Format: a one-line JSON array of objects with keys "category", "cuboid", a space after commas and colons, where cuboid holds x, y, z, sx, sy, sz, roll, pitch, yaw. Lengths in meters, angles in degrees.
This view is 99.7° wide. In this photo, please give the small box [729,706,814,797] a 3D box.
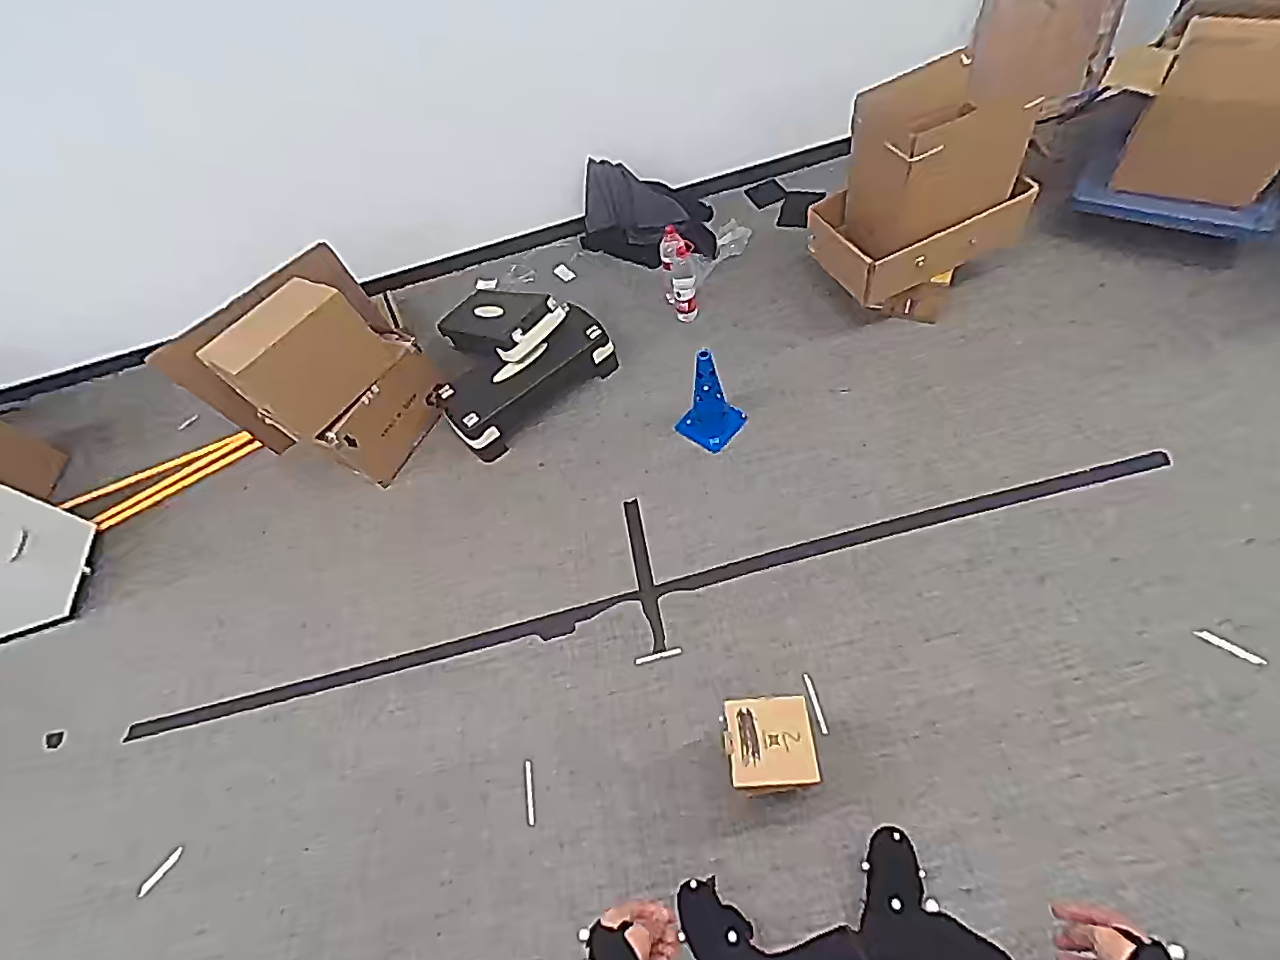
[{"category": "small box", "cuboid": [0.319, 0.670, 1.329, 0.168, 0.176, 0.179, -12, 57, 5]}]
